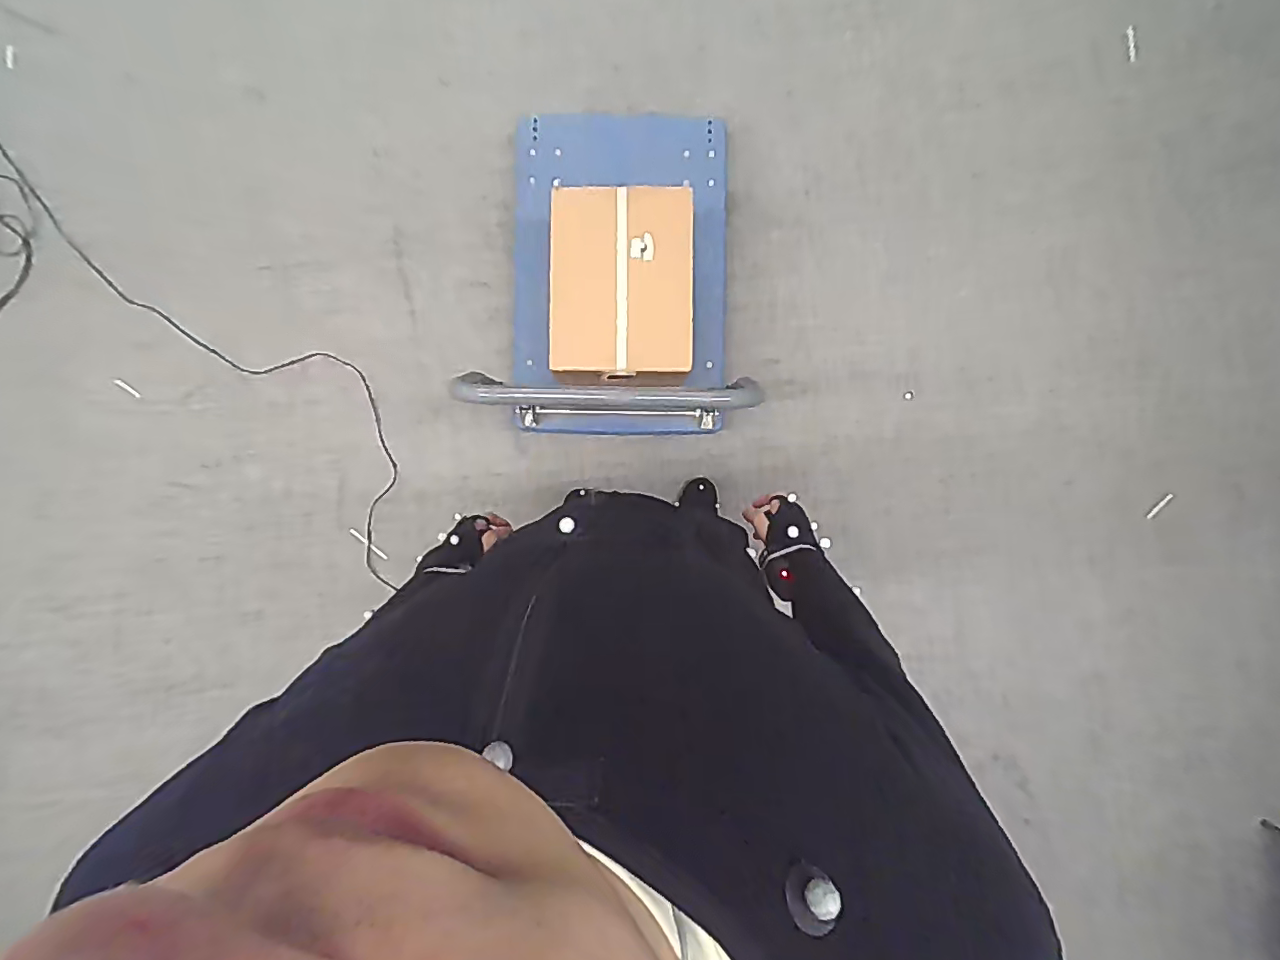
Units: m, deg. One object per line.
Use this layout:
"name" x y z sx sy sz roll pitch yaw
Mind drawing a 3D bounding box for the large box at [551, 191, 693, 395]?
"large box" -0.038 -0.435 1.339 0.320 0.320 0.408 1 89 0
